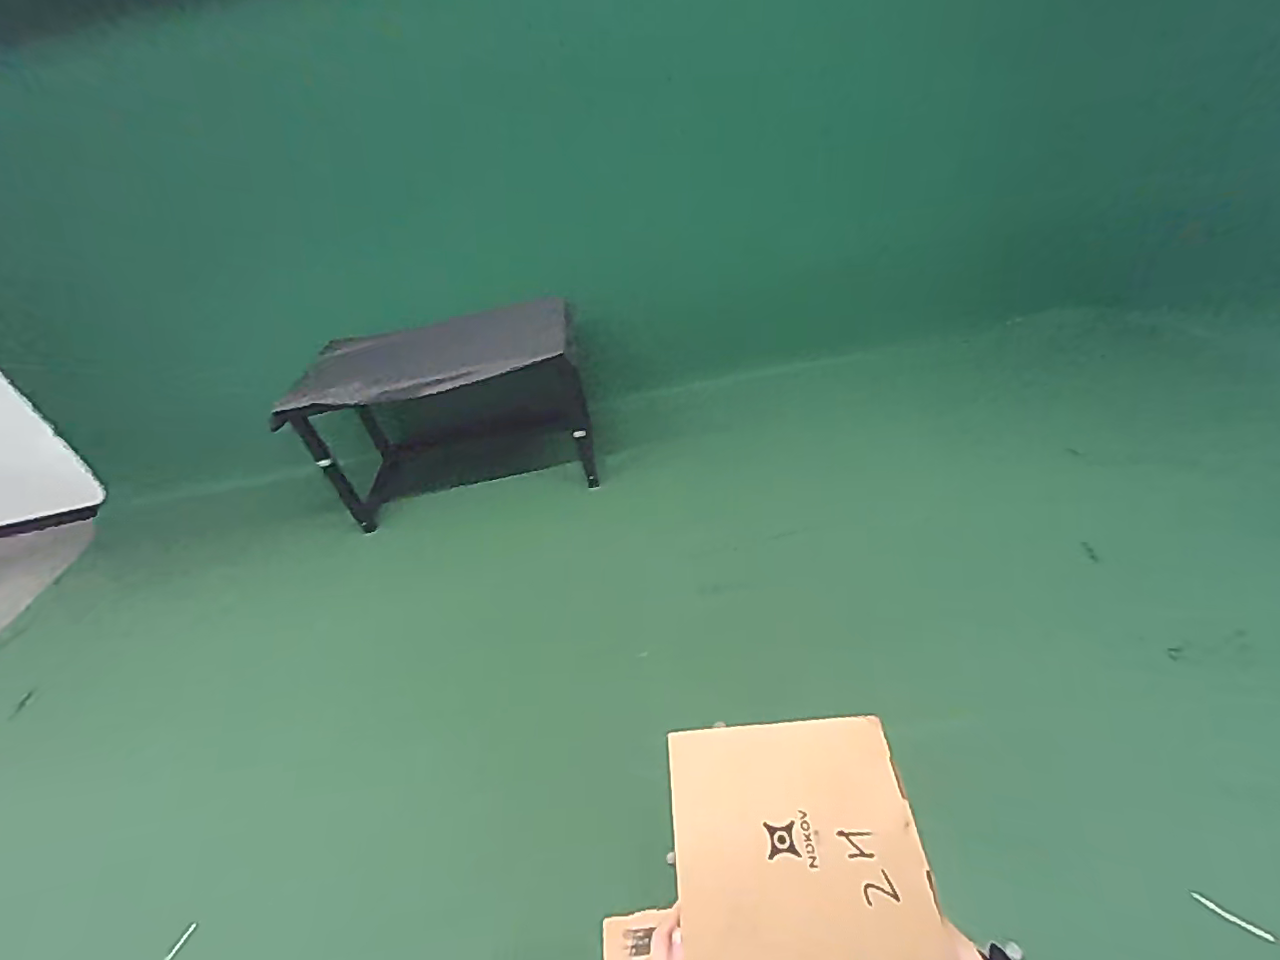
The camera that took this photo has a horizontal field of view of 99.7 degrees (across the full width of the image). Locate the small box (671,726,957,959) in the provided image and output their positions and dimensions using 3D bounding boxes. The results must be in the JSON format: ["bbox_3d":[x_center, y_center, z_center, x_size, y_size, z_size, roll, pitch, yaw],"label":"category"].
[{"bbox_3d":[0.124,0.318,0.445,0.179,0.176,0.168,-6,49,5],"label":"small box"}]

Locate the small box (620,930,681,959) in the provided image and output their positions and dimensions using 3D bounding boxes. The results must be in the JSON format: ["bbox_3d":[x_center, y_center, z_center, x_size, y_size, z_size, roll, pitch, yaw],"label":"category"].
[{"bbox_3d":[0.061,1.034,1.074,0.168,0.176,0.179,-12,35,2],"label":"small box"}]
